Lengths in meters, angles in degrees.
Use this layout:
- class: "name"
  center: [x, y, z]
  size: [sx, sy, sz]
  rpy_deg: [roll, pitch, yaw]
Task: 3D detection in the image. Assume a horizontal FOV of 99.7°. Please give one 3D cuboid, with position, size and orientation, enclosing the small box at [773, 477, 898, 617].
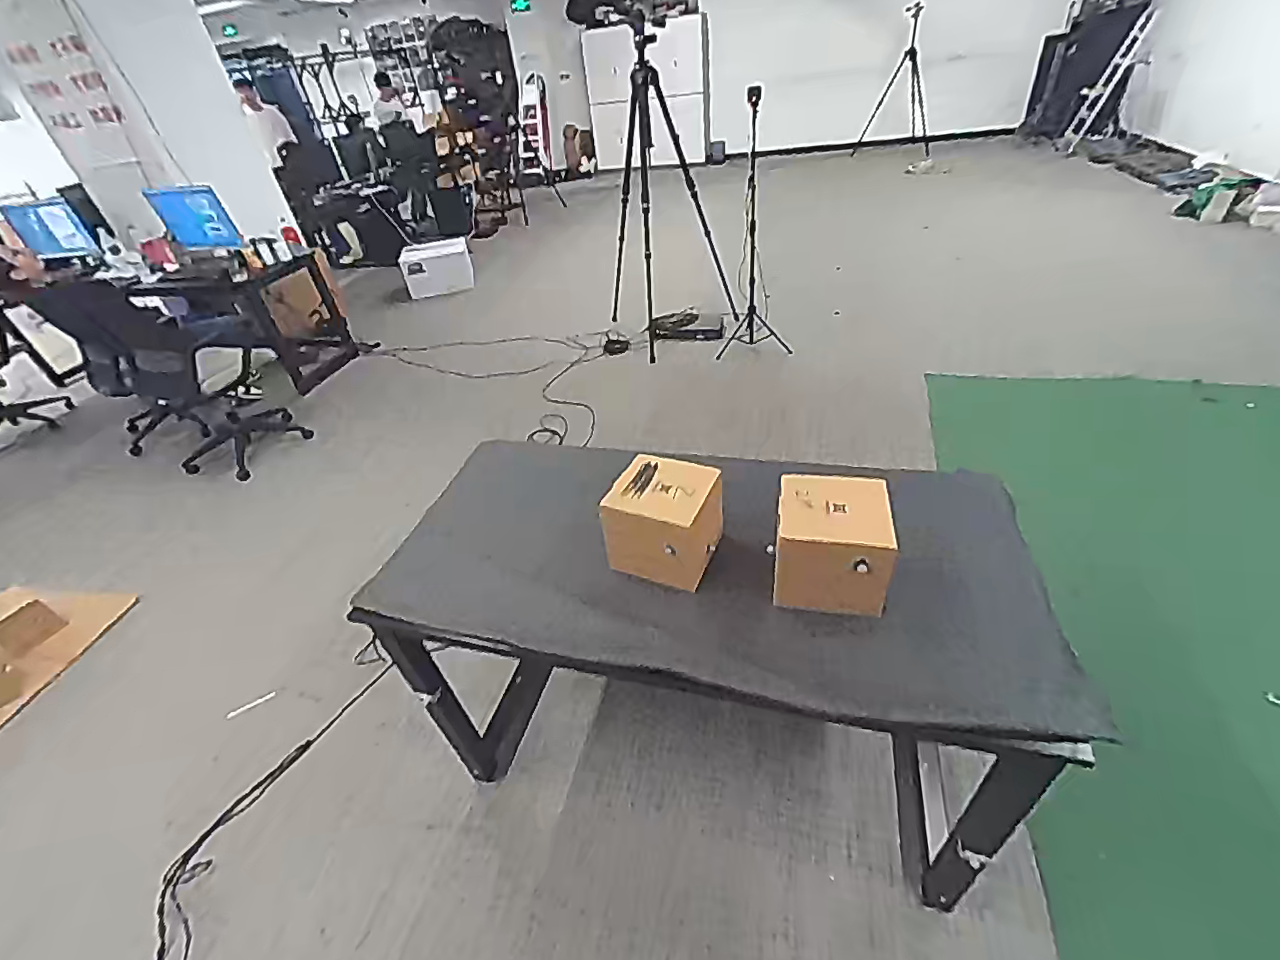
- class: "small box"
  center: [0.327, 0.115, 0.929]
  size: [0.179, 0.176, 0.168]
  rpy_deg: [3, 38, 15]
